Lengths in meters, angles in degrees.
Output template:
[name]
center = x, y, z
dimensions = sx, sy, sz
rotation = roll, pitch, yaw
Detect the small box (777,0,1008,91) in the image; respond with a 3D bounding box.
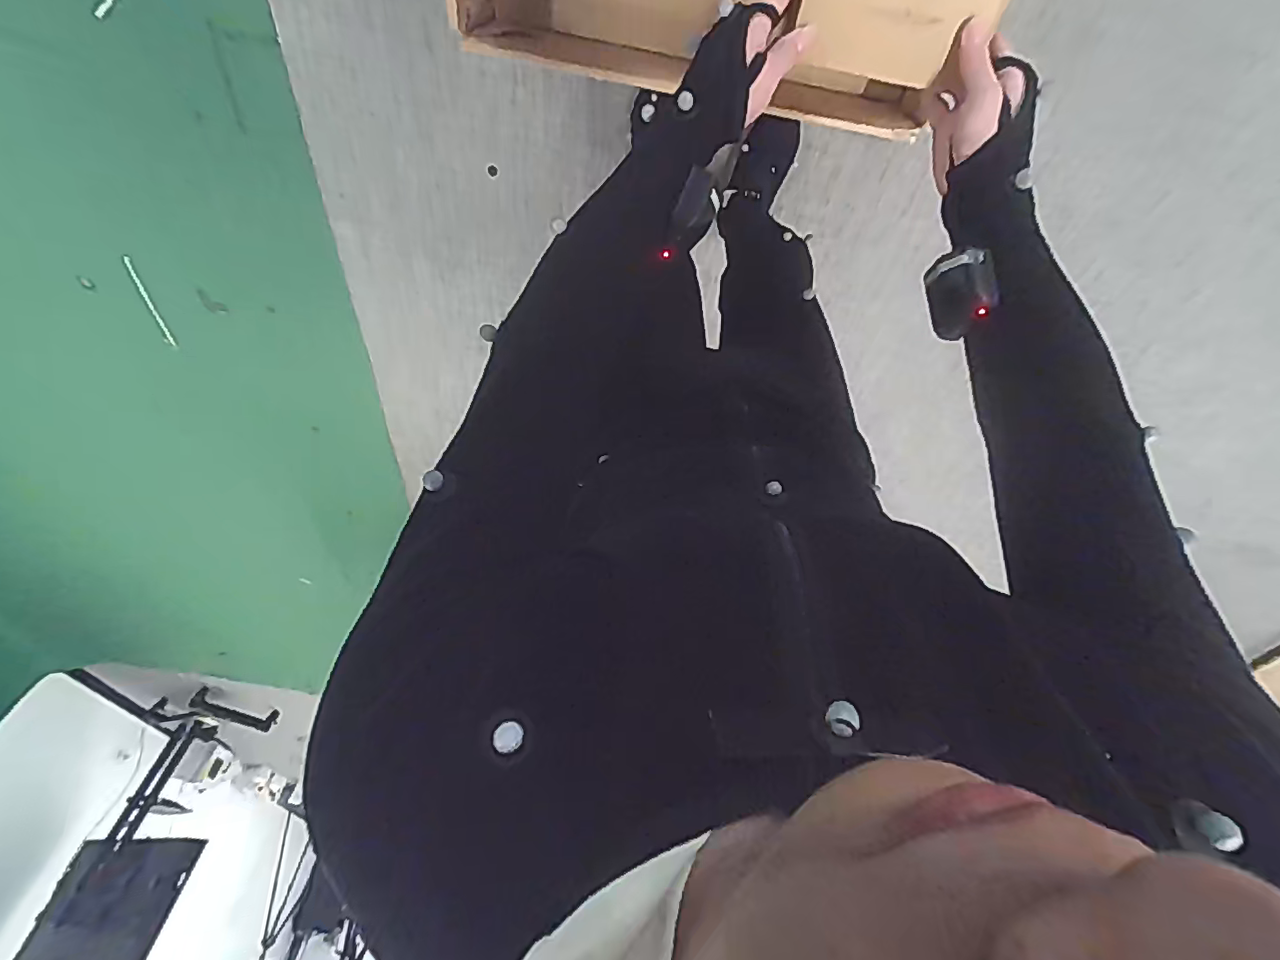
[small box]
center = 0.228, -0.476, 0.470
dimensions = 0.168, 0.176, 0.179
rotation = 9, 137, -4
